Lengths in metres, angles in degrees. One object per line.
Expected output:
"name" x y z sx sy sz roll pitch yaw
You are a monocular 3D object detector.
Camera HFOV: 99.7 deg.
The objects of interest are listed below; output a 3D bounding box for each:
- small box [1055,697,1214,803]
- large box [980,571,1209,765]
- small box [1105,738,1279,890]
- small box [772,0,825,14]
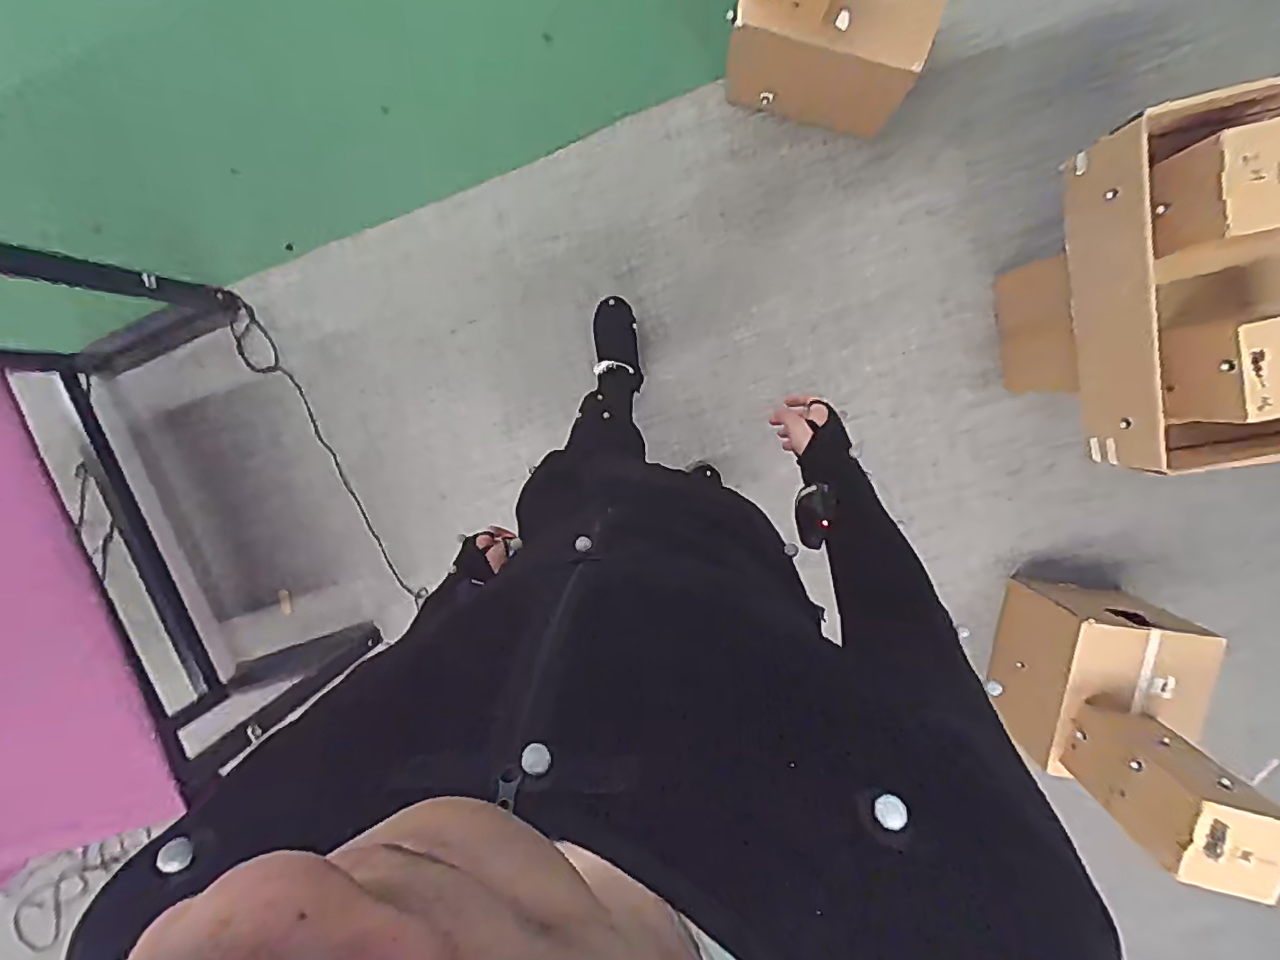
"small box" 1.097 0.617 1.215 0.179 0.176 0.168 12 100 5
"large box" 1.167 0.494 1.437 0.320 0.320 0.408 5 99 4
"small box" 1.074 0.638 1.055 0.179 0.176 0.168 12 100 4
"small box" 0.309 -1.035 1.004 0.168 0.176 0.179 19 102 0
